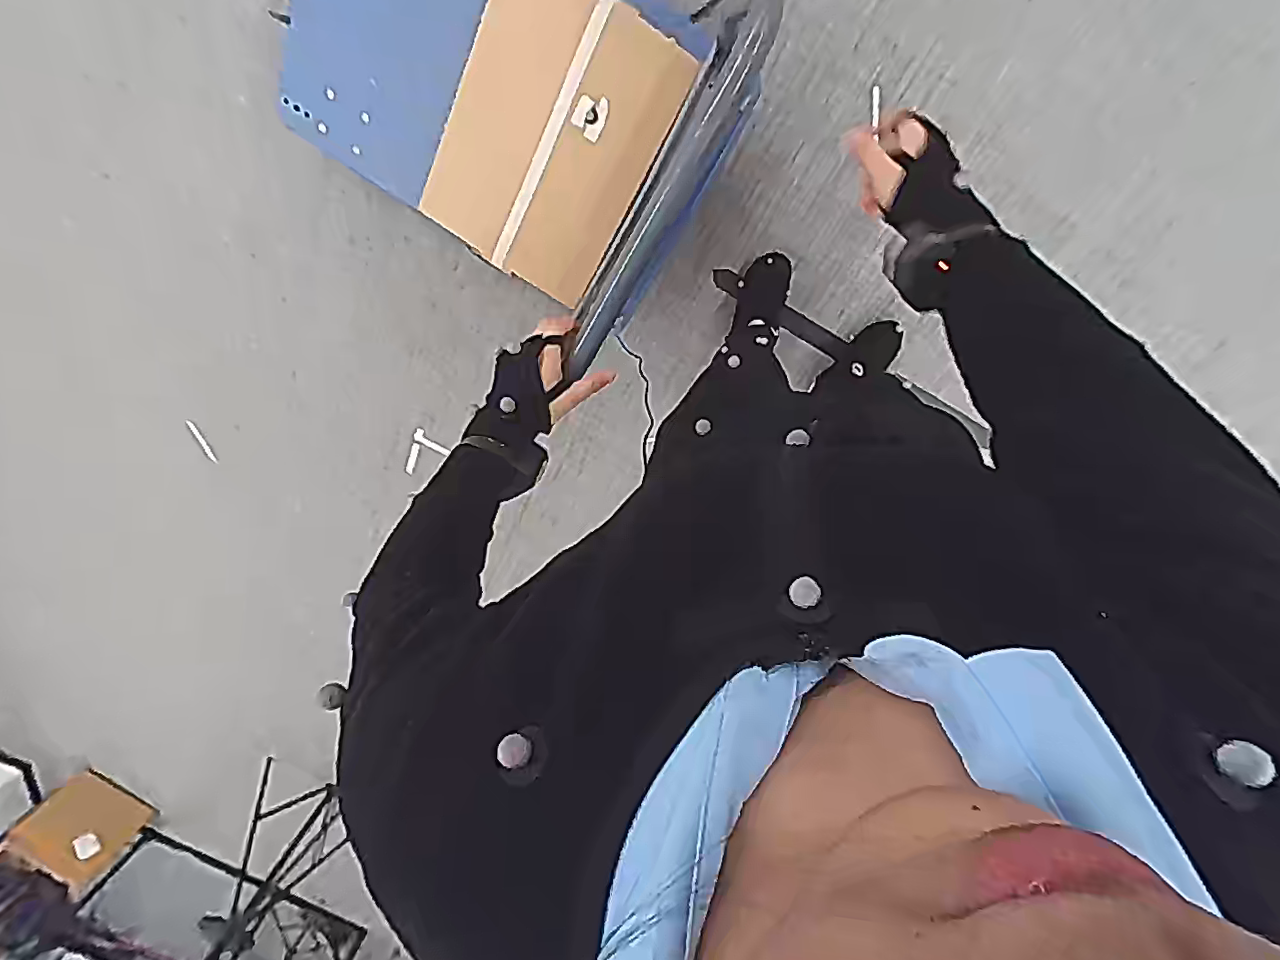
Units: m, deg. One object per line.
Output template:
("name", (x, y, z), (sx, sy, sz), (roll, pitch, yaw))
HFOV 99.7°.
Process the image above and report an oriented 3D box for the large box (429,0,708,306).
("large box", (-0.115, -0.590, 0.982), (0.320, 0.320, 0.408), (31, 117, -6))
